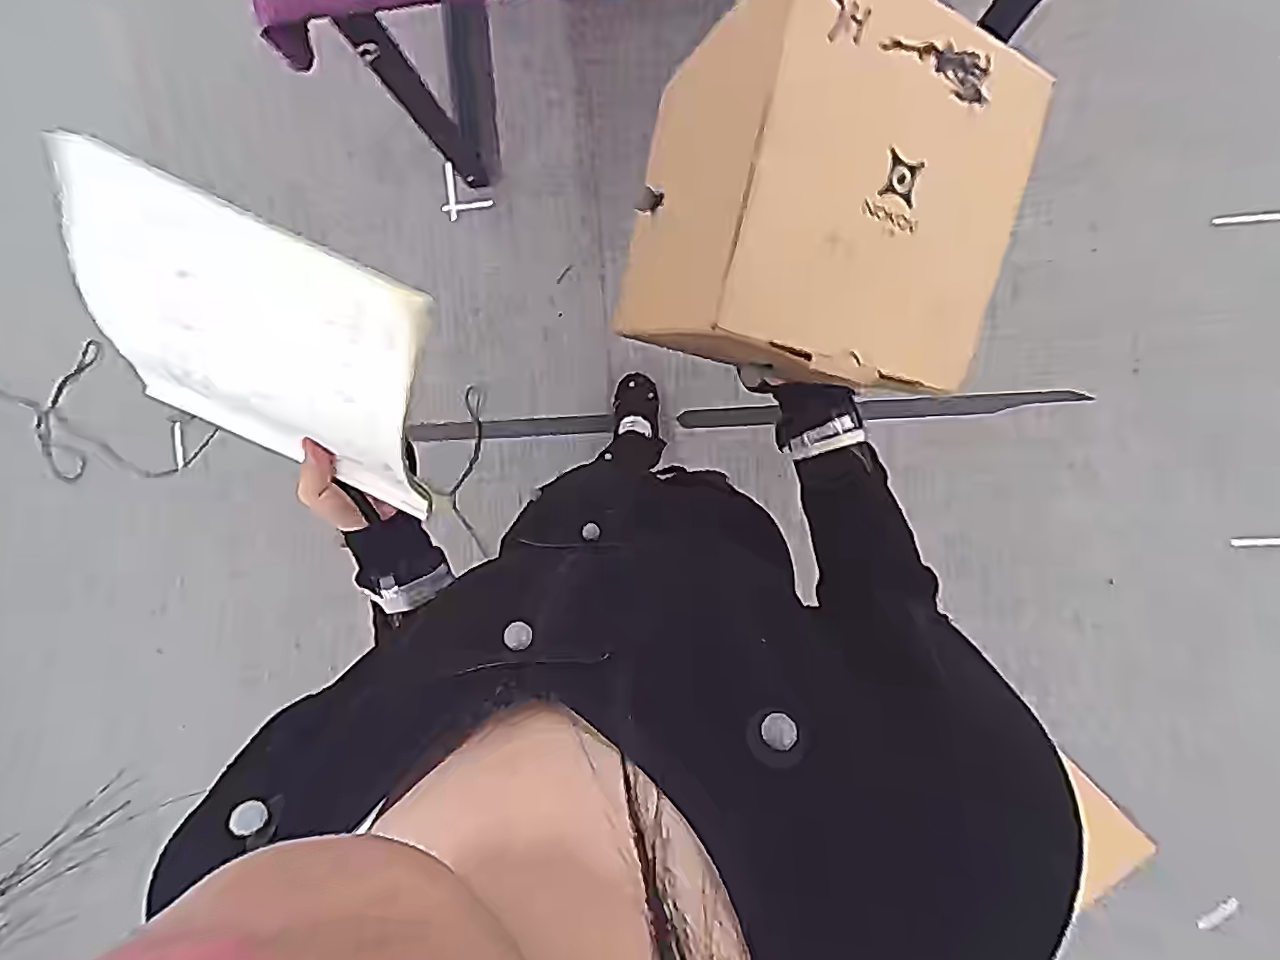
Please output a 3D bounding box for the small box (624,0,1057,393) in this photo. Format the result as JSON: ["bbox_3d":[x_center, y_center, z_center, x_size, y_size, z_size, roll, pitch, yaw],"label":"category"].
[{"bbox_3d":[0.100,-0.165,0.344,0.168,0.176,0.179,9,101,-22],"label":"small box"}]
